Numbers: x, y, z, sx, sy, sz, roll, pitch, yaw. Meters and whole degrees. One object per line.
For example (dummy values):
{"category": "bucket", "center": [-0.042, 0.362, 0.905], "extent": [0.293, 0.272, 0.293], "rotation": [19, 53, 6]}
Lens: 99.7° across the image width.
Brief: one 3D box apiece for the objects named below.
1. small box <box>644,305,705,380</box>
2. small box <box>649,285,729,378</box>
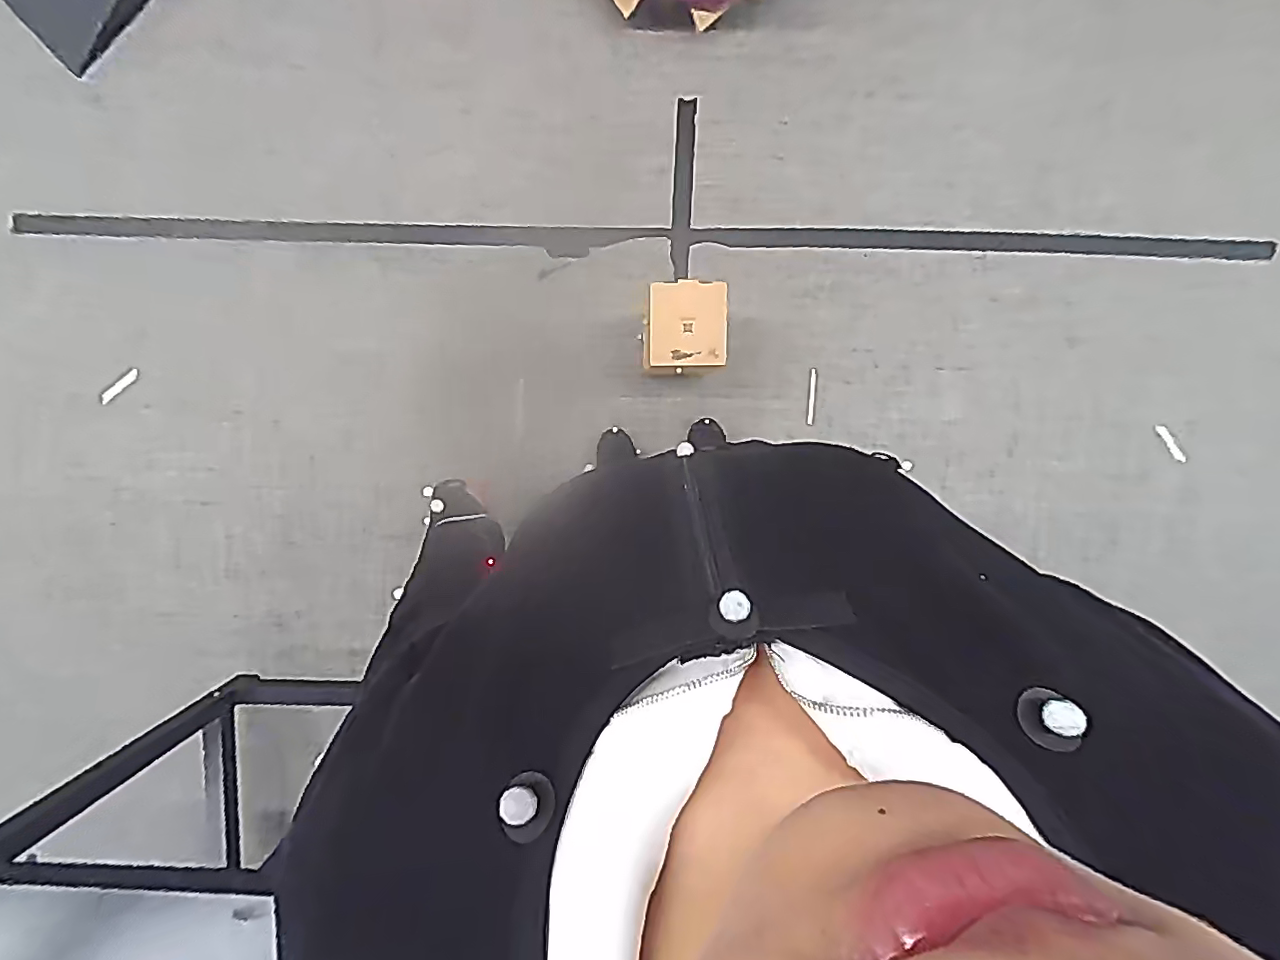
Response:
{"category": "small box", "center": [0.102, -0.348, 1.387], "extent": [0.179, 0.176, 0.168], "rotation": [2, 95, 1]}
{"category": "small box", "center": [0.105, -0.330, 1.224], "extent": [0.168, 0.176, 0.179], "rotation": [0, 94, 0]}
